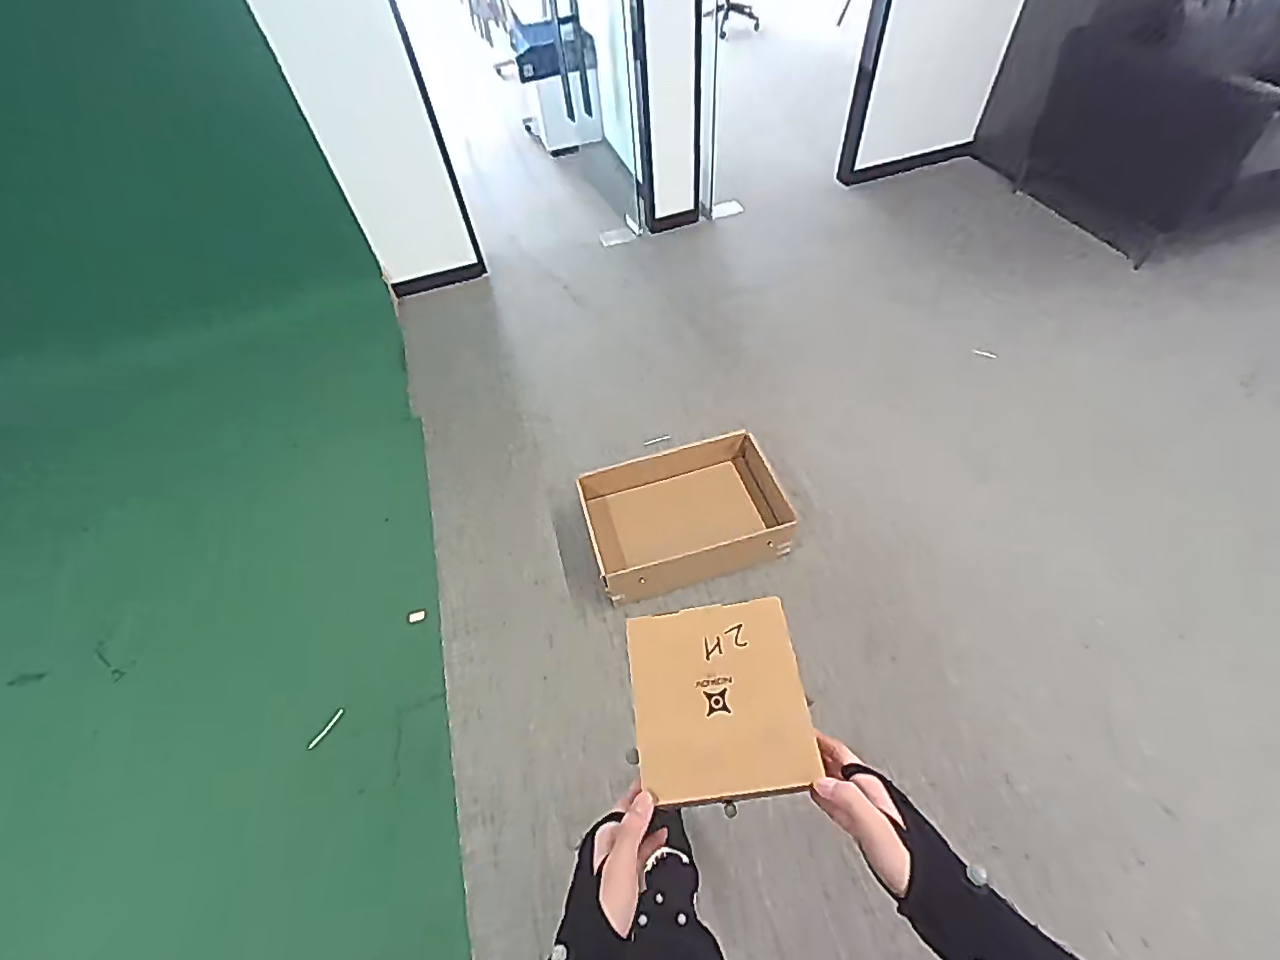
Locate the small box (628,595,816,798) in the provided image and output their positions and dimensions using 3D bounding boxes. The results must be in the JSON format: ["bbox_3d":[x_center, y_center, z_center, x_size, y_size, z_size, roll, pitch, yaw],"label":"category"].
[{"bbox_3d":[0.085,0.248,0.604,0.168,0.176,0.179,-8,57,3],"label":"small box"}]
